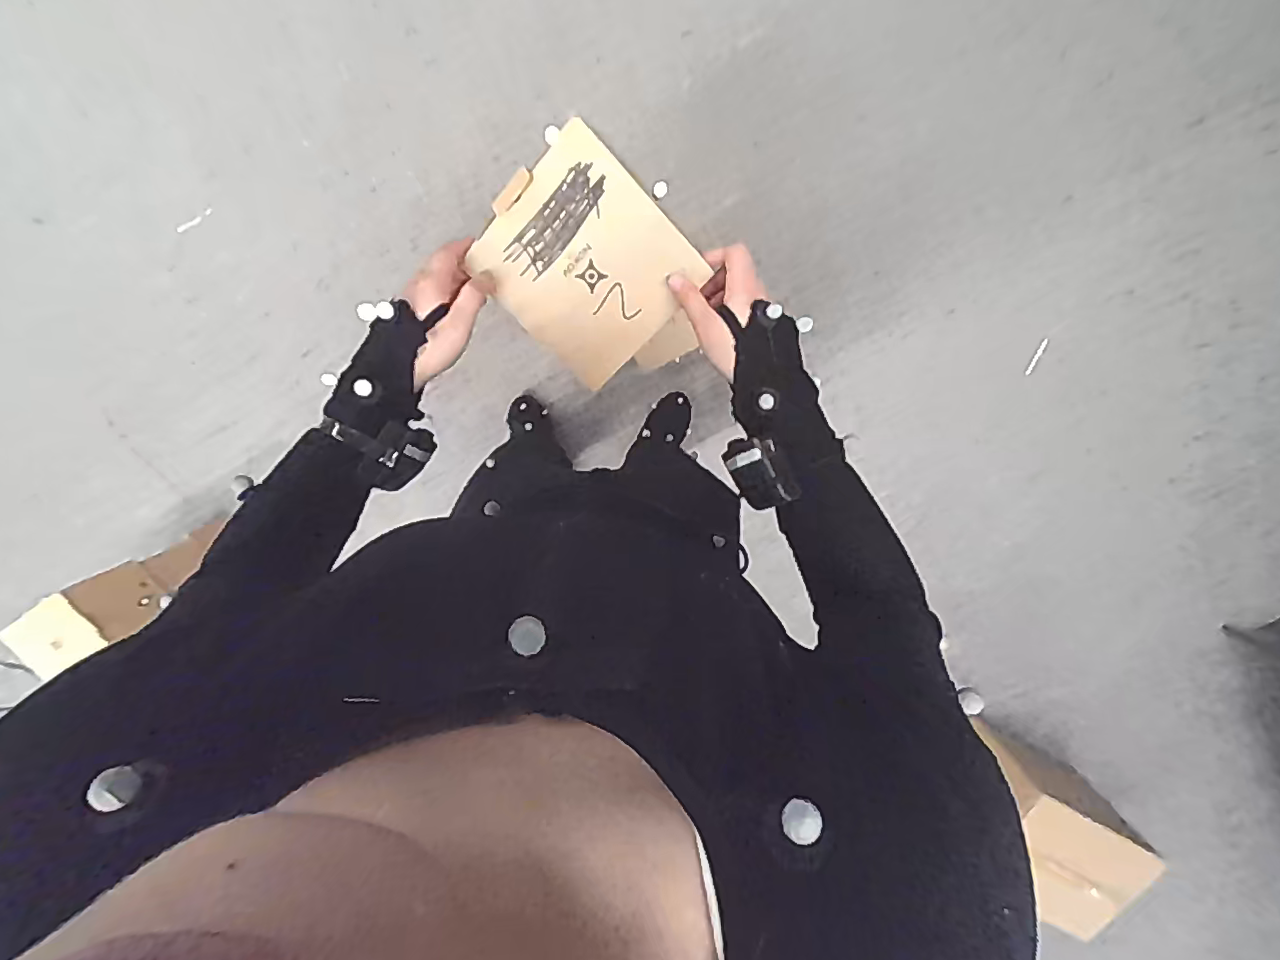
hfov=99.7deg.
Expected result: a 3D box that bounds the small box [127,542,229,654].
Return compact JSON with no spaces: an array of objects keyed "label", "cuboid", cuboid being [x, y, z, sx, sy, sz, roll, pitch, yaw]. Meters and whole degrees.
[{"label":"small box","cuboid":[-1.165,0.280,1.311,0.179,0.176,0.168,-32,101,7]}]

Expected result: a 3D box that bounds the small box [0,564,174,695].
[{"label":"small box","cuboid":[-1.167,0.311,1.151,0.179,0.176,0.168,-33,101,7]}]

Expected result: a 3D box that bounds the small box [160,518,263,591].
[{"label":"small box","cuboid":[-1.175,0.229,1.467,0.179,0.176,0.168,-35,100,9]}]

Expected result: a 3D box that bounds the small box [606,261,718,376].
[{"label":"small box","cuboid":[0.045,-0.336,1.144,0.179,0.176,0.168,-26,100,8]}]
